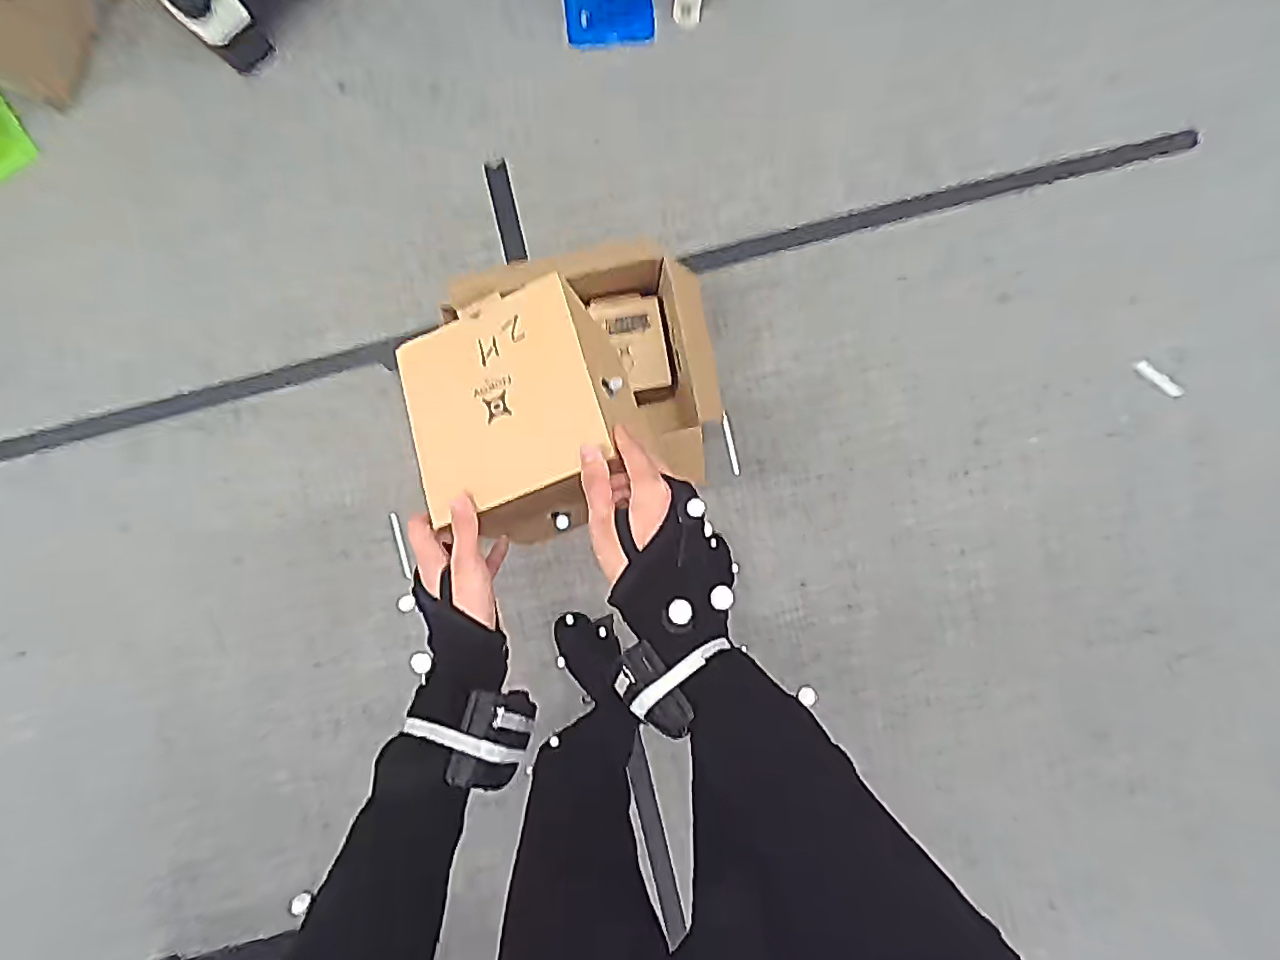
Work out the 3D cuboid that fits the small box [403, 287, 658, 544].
[{"bbox_3d":[-0.094,-0.043,0.524,0.168,0.176,0.179,-20,74,10],"label":"small box"}]
